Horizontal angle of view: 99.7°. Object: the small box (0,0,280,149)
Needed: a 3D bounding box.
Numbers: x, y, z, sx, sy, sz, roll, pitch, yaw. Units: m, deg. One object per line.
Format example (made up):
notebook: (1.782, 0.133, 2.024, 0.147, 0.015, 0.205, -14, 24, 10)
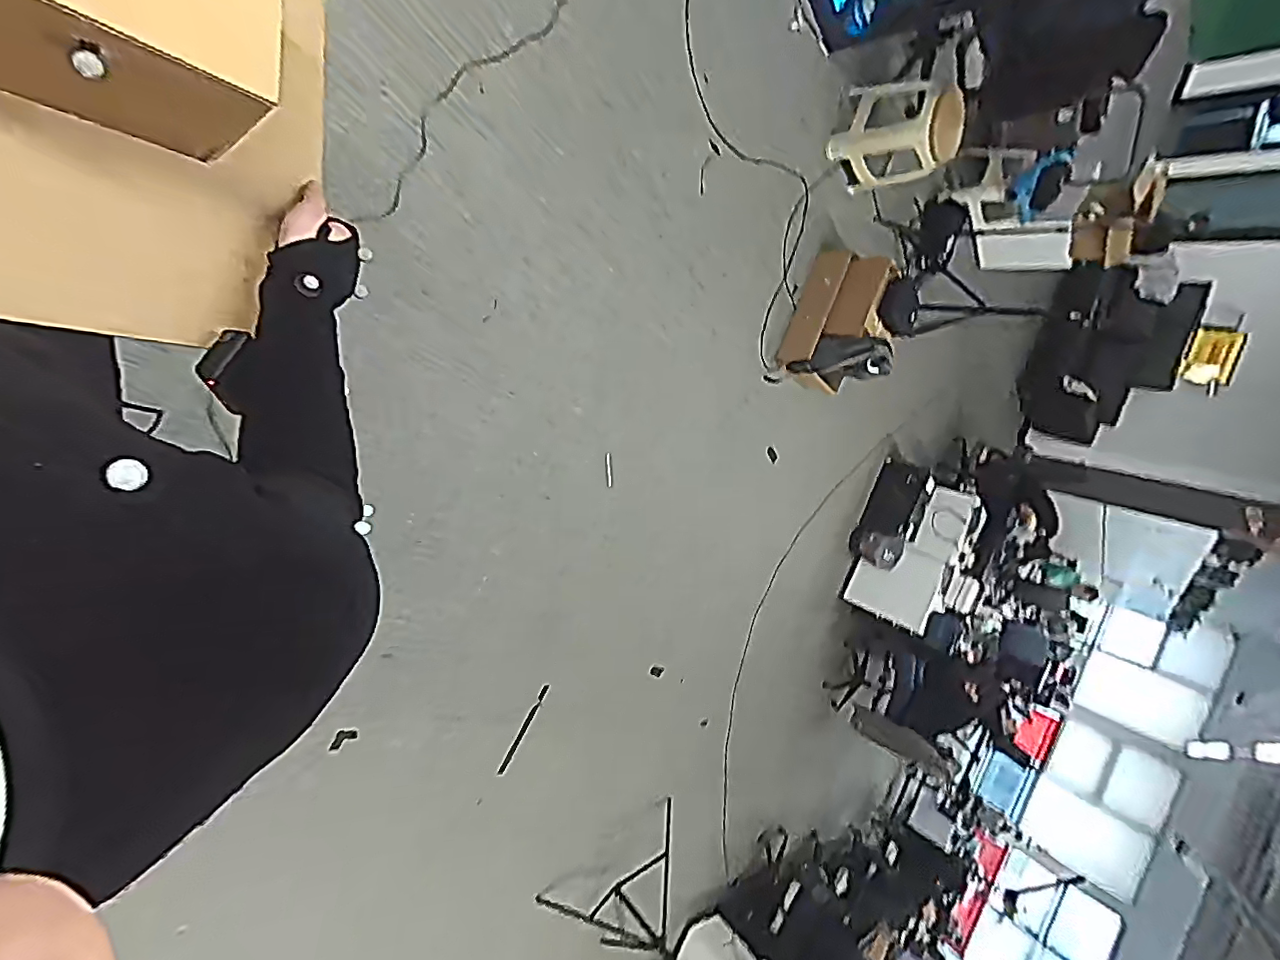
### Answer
small box: (-0.384, -0.365, 0.382, 0.179, 0.176, 0.168, -2, 98, -51)
